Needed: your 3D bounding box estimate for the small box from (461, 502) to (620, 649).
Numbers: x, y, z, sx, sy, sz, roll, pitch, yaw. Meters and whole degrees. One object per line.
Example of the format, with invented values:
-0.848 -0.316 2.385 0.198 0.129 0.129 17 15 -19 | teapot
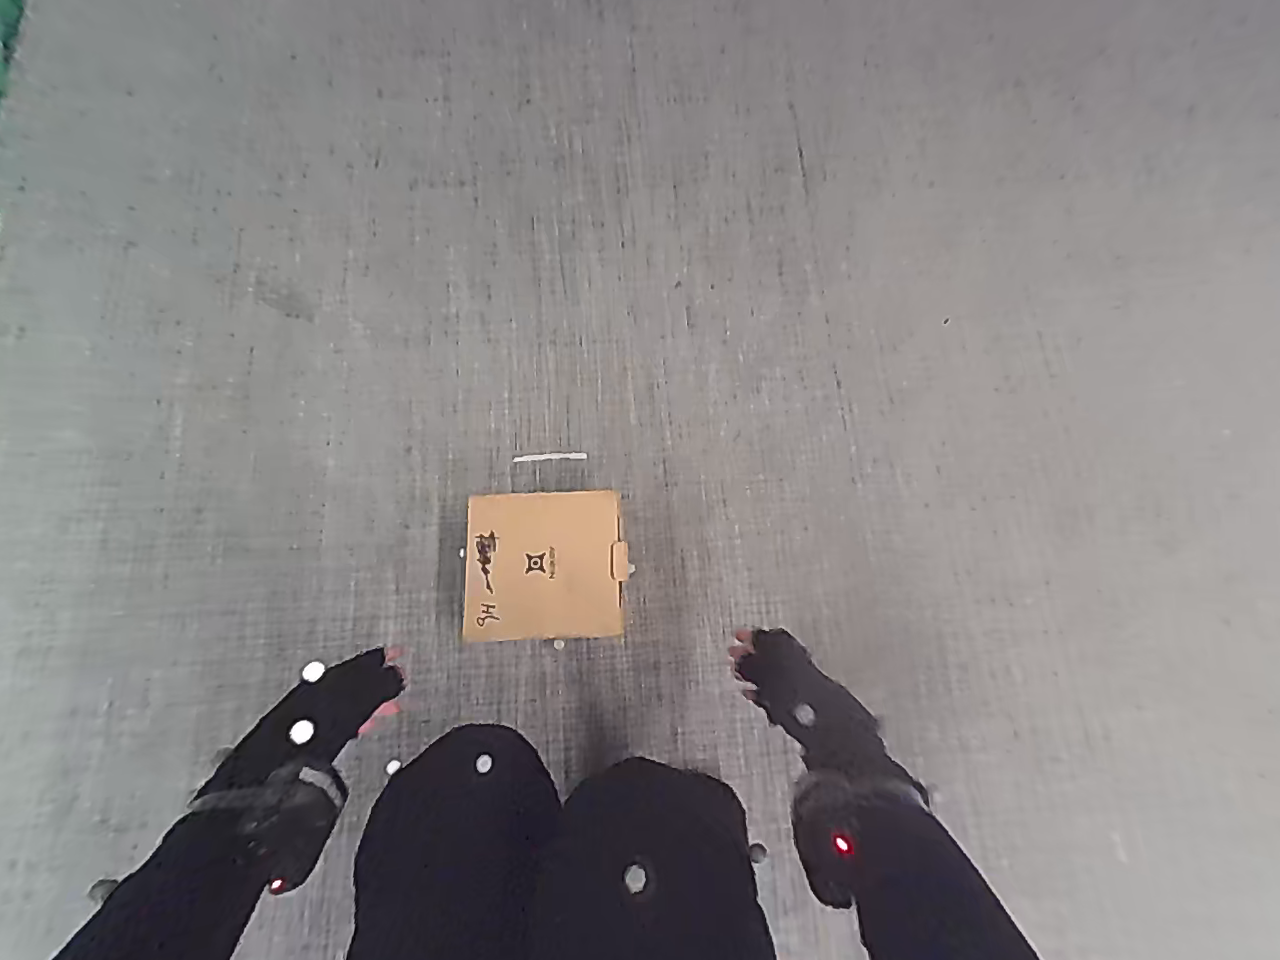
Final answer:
-0.113 0.123 0.690 0.179 0.176 0.168 -1 76 -1 | small box
